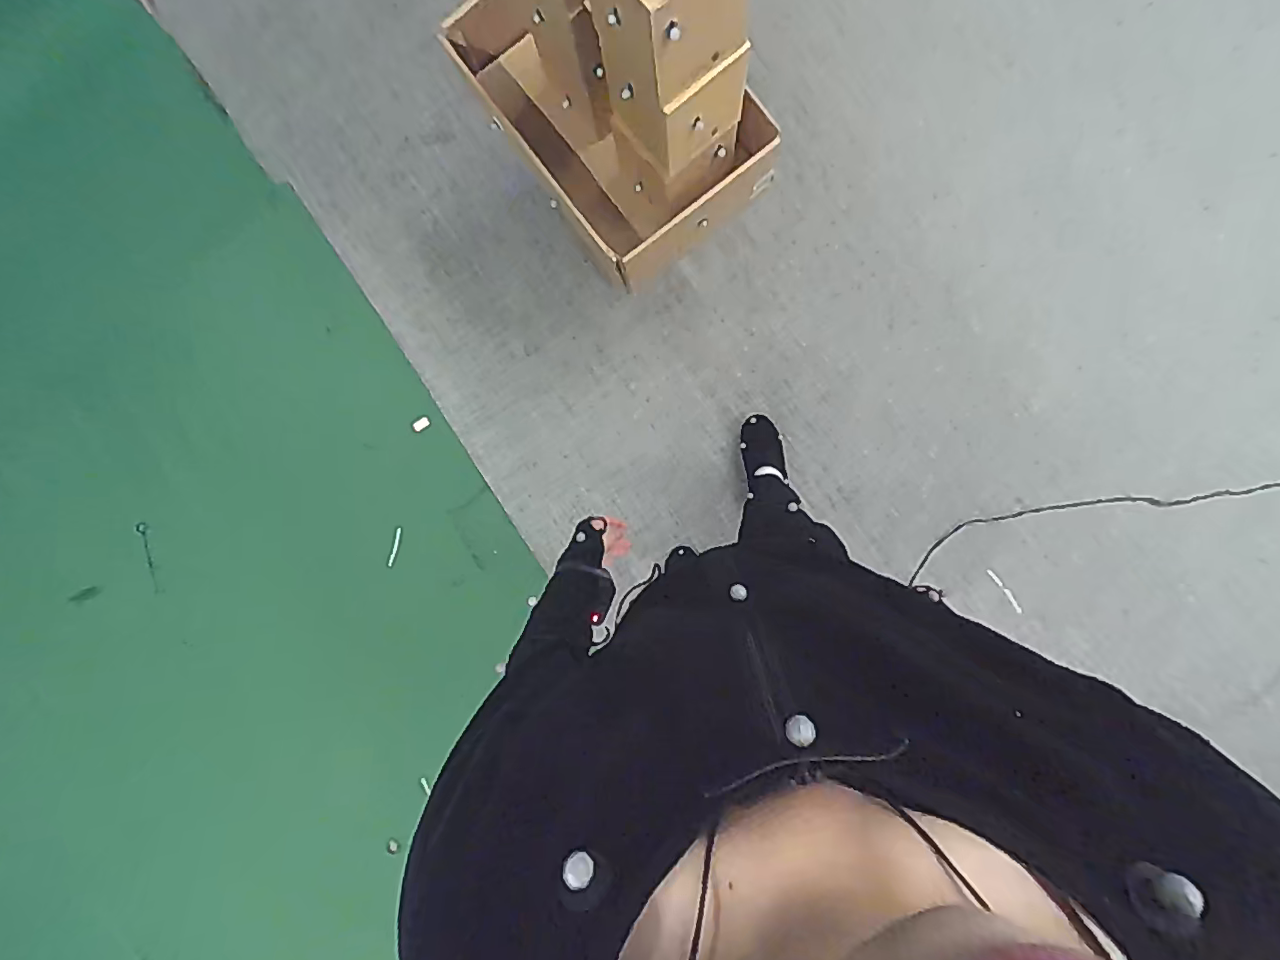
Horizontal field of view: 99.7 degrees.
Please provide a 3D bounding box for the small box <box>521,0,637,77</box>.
[{"bbox_3d":[-0.100,-0.845,0.924,0.168,0.176,0.179,-42,87,3],"label":"small box"}]

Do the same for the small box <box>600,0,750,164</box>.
[{"bbox_3d":[0.061,-0.671,0.904,0.168,0.176,0.179,-38,85,3],"label":"small box"}]
